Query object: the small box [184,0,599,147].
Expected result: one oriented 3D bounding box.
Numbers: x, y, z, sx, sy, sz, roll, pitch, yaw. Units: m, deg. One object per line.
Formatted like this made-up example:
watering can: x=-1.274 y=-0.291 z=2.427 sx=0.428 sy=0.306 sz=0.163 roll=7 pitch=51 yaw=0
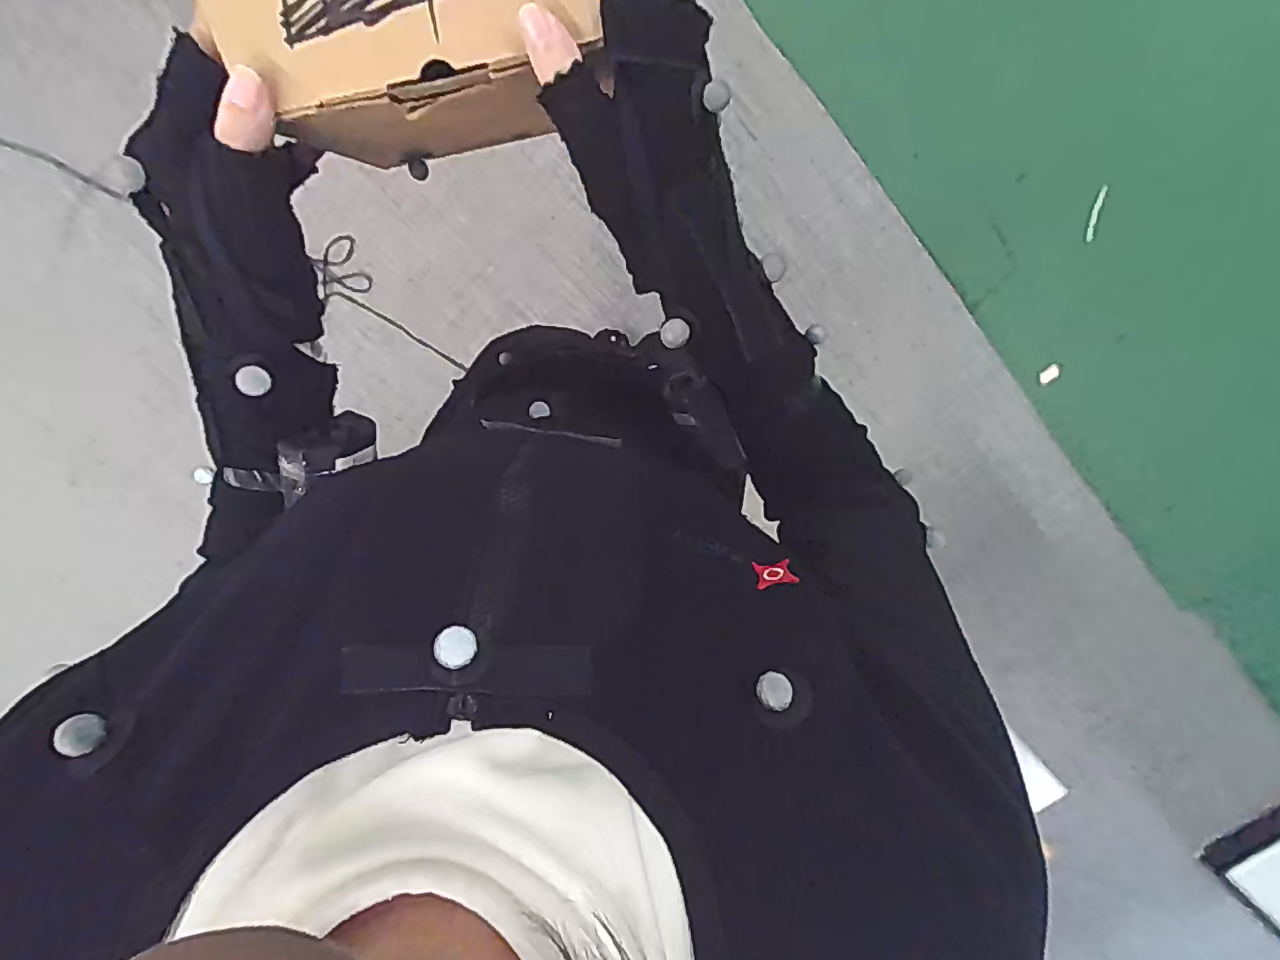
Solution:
small box: x=-0.117 y=-0.284 z=0.267 sx=0.168 sy=0.176 sz=0.179 roll=-13 pitch=113 yaw=1
